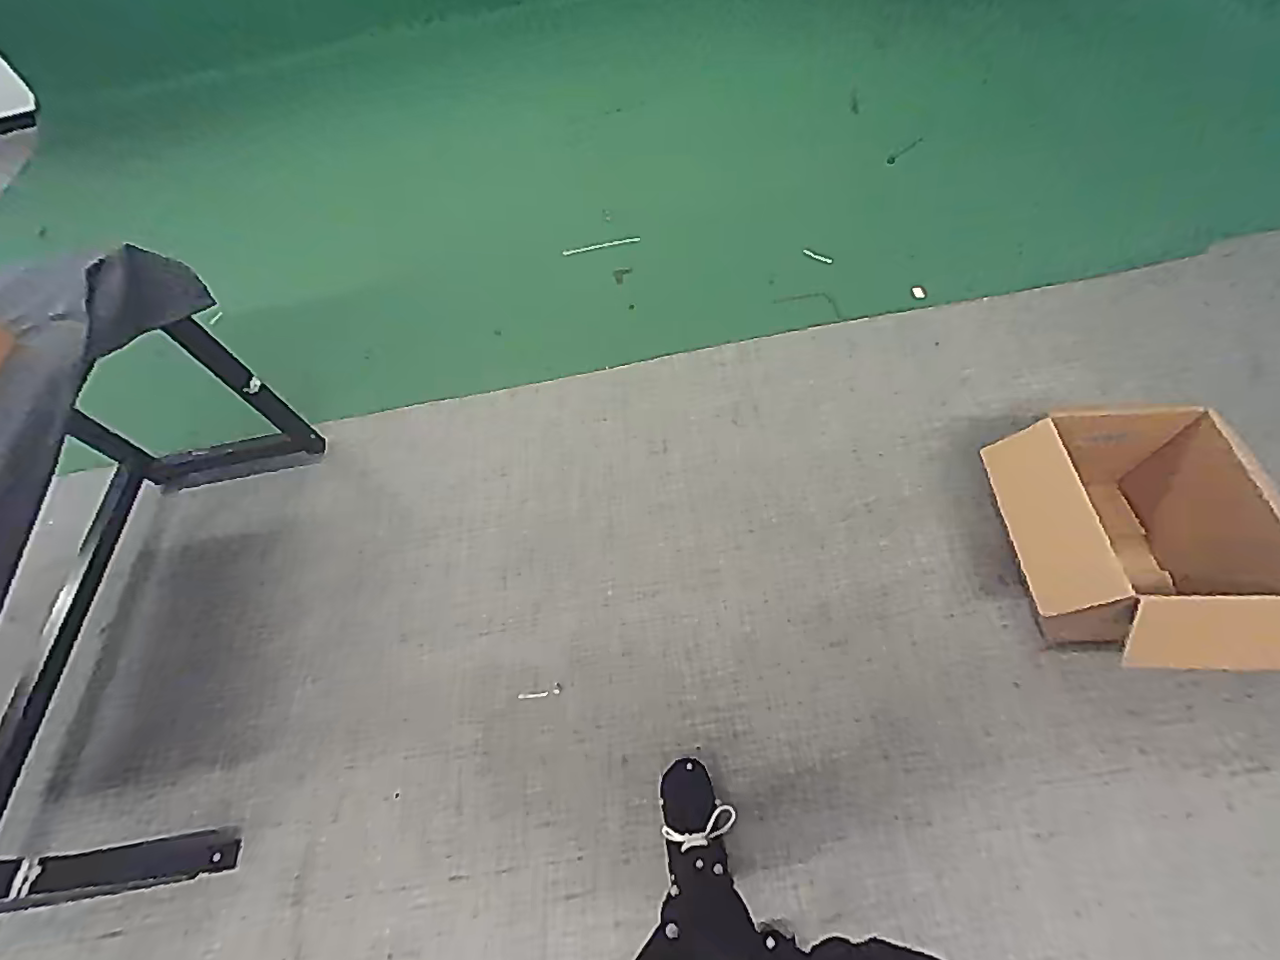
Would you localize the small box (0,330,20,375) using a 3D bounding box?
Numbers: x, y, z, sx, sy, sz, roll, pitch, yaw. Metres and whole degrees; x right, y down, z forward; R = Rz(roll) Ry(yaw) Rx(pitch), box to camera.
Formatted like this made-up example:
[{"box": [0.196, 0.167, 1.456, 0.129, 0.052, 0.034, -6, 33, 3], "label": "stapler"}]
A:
[{"box": [-1.281, -0.226, 0.950, 0.168, 0.176, 0.179, -9, 58, 3], "label": "small box"}]
